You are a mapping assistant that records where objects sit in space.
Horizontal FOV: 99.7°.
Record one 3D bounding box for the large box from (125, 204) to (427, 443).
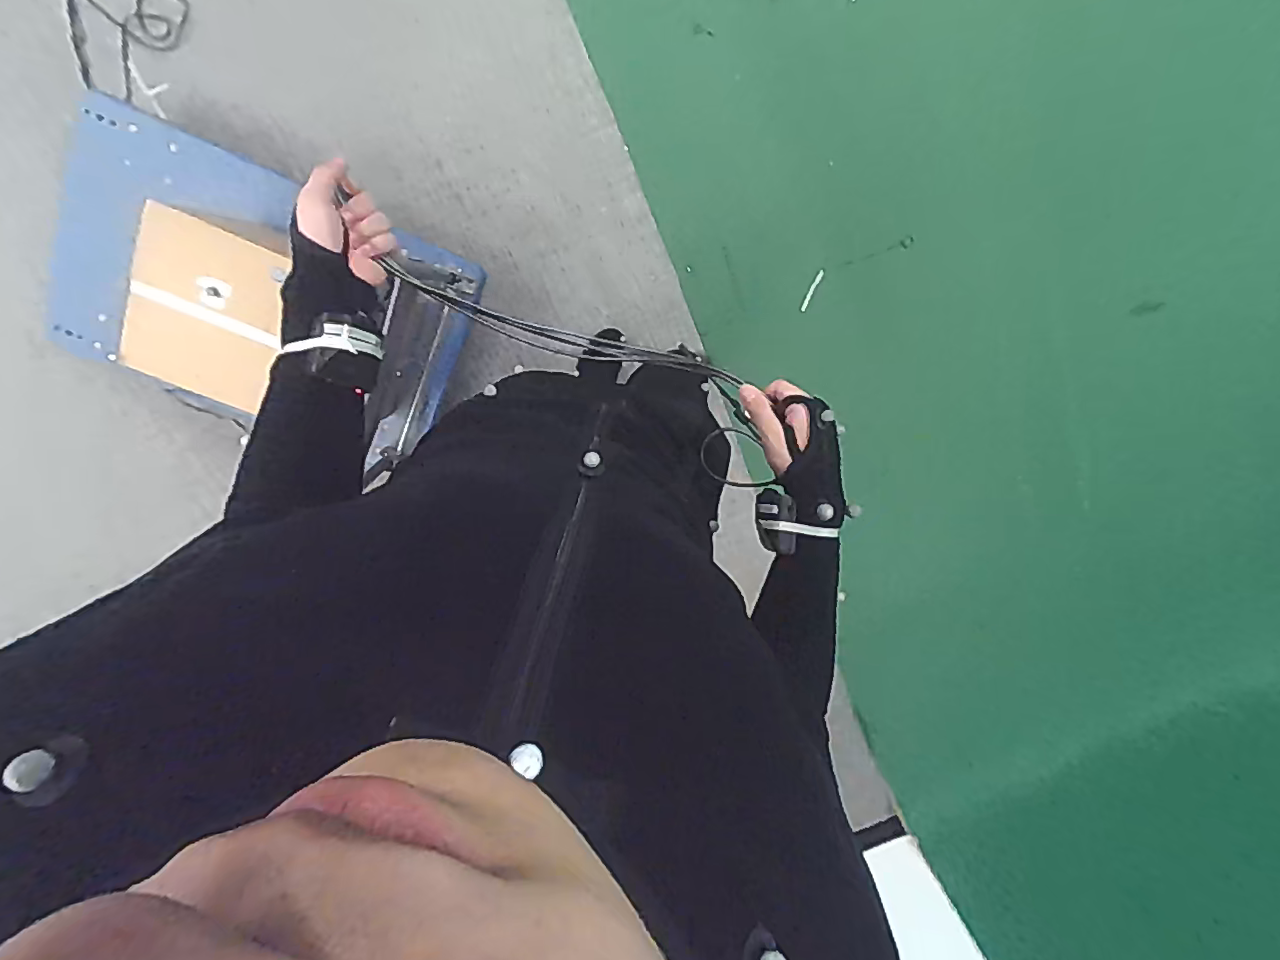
[{"bbox_3d":[-0.733,-0.321,1.149,0.408,0.320,0.320,23,104,-10],"label":"large box"}]
